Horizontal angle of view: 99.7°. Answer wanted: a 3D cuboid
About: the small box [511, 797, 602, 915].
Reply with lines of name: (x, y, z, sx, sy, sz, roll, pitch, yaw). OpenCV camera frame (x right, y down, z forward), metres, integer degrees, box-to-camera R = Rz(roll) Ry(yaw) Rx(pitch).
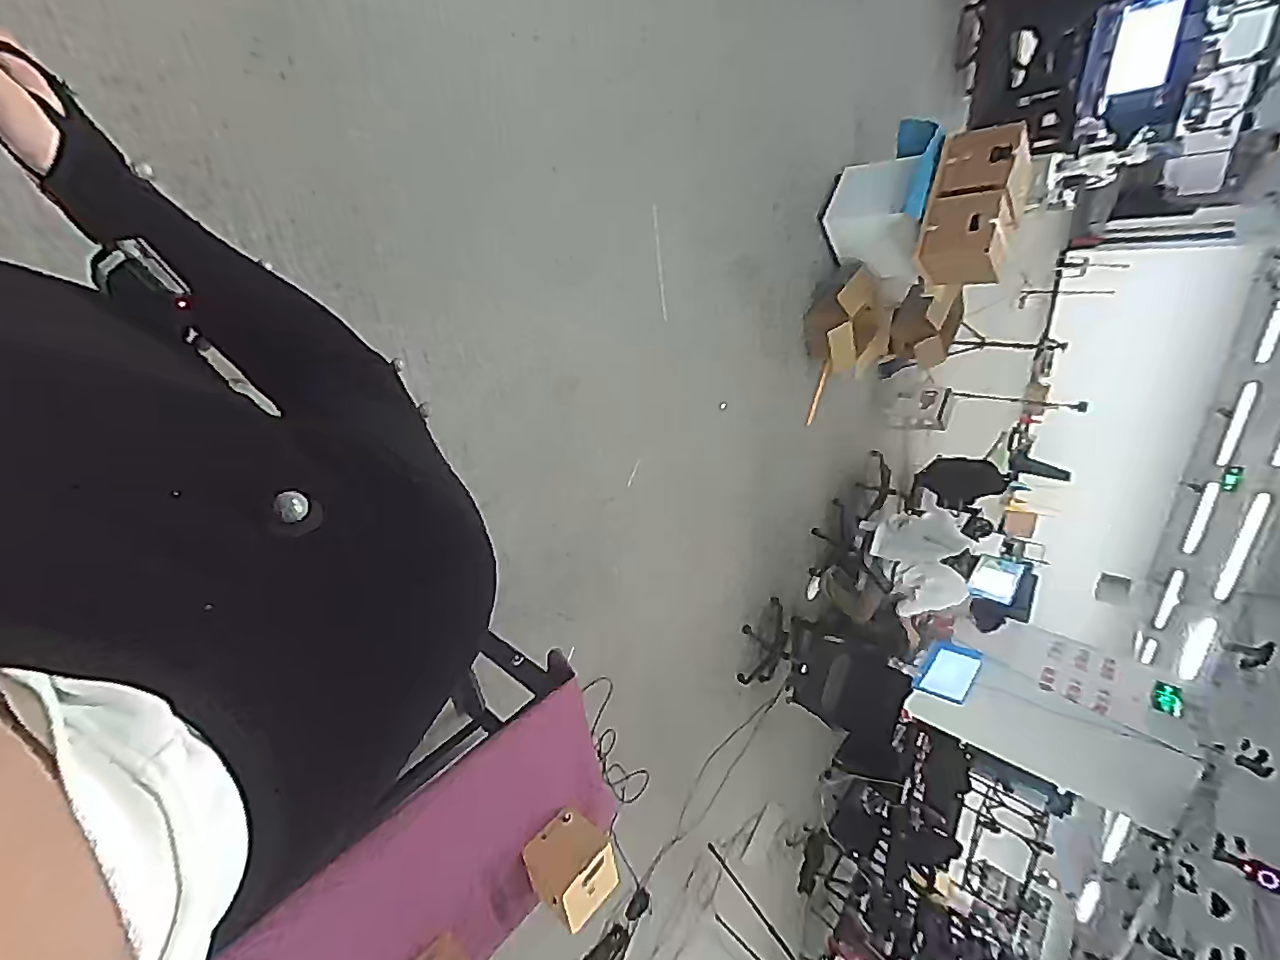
small box: (-0.227, 1.000, 1.461, 0.168, 0.176, 0.179, -29, 124, -40)
